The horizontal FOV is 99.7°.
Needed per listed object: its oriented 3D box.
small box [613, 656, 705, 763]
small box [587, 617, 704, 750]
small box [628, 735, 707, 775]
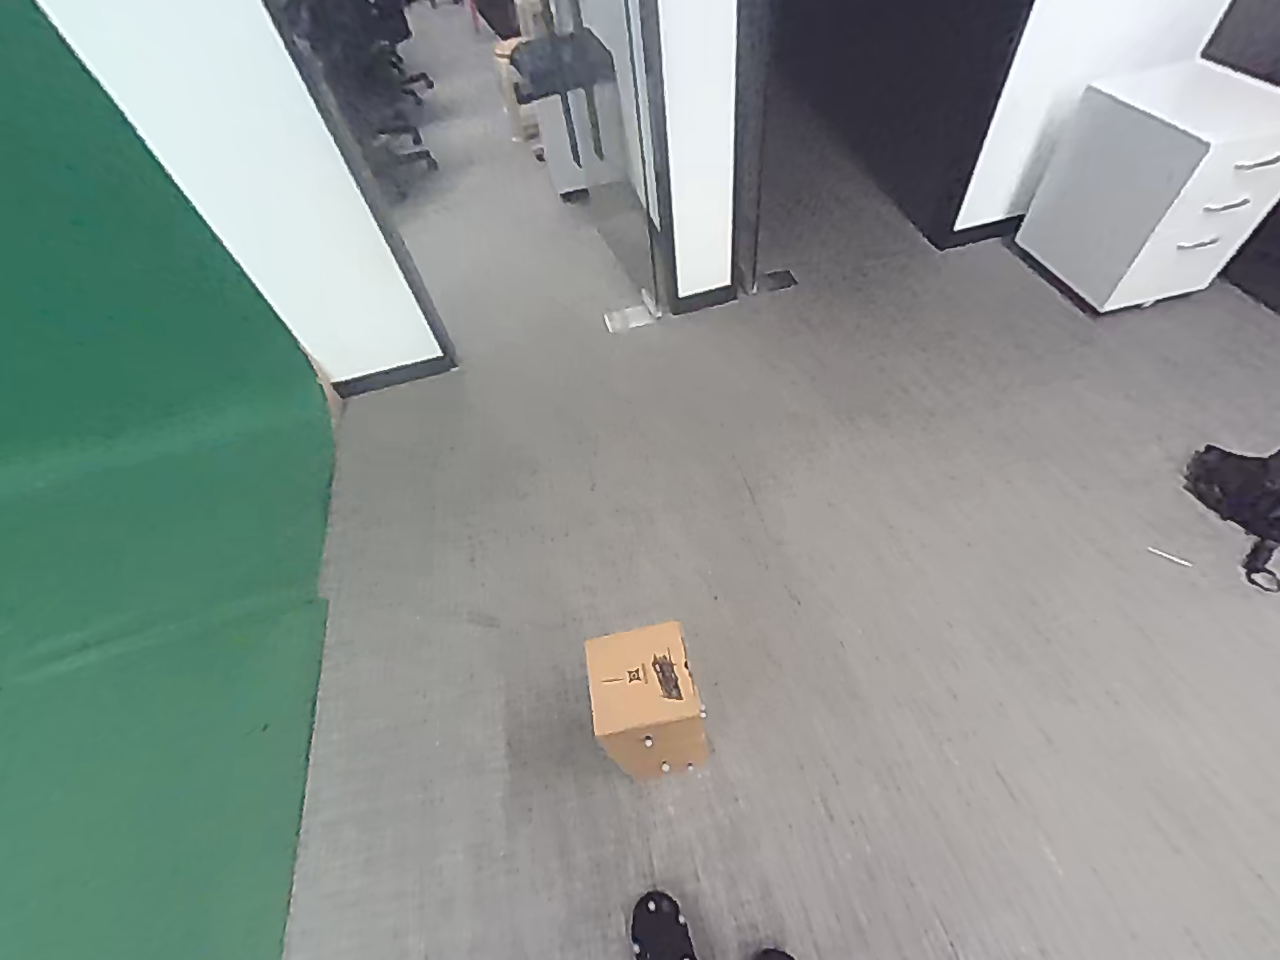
[{"bbox_3d":[0.033,0.474,1.121,0.179,0.176,0.168,-10,53,0],"label":"small box"},{"bbox_3d":[0.011,0.376,0.990,0.179,0.176,0.168,-13,53,-3],"label":"small box"},{"bbox_3d":[0.053,0.566,1.255,0.179,0.176,0.168,-14,52,-1],"label":"small box"}]
